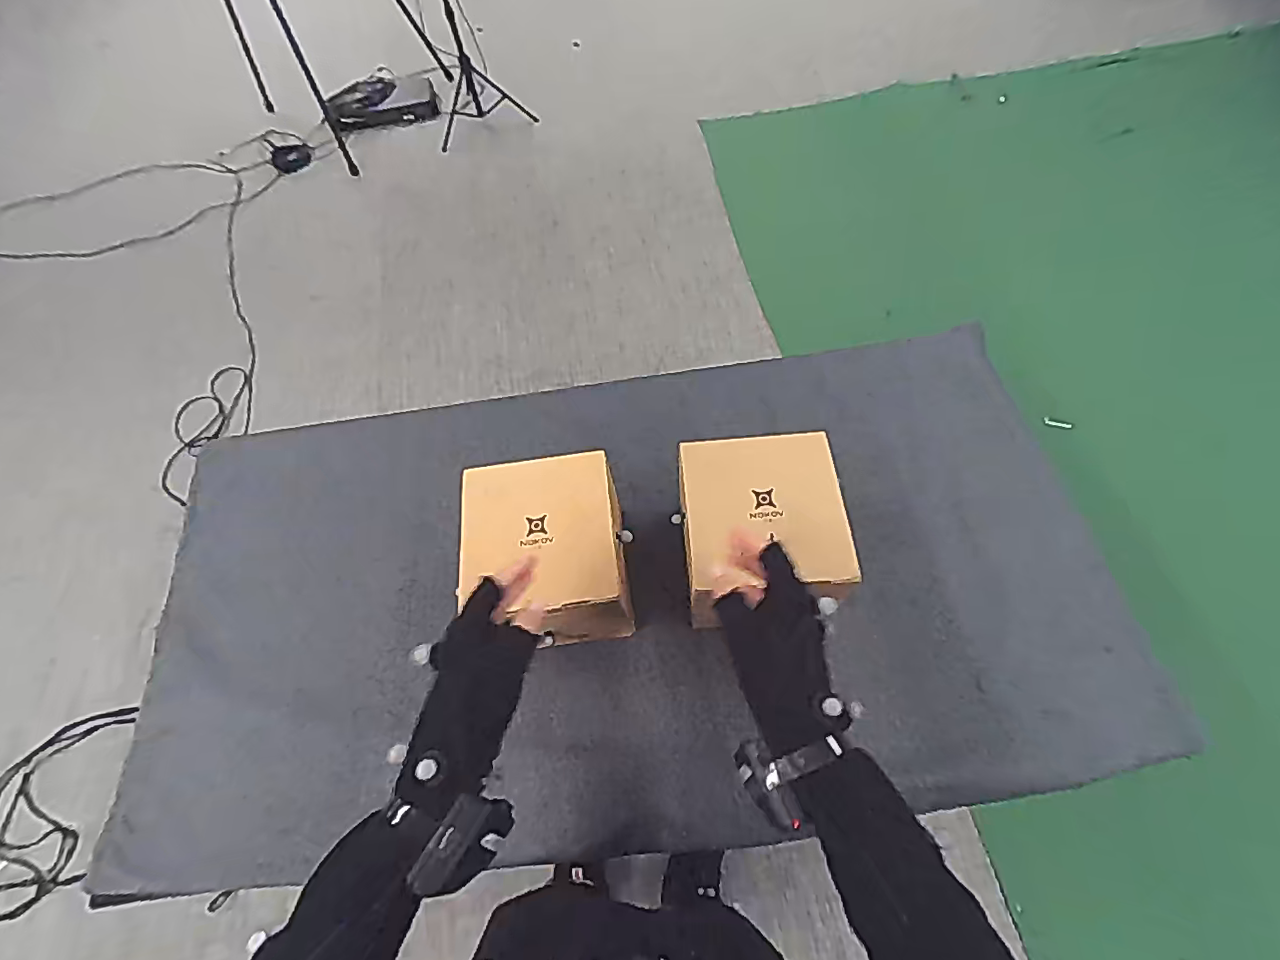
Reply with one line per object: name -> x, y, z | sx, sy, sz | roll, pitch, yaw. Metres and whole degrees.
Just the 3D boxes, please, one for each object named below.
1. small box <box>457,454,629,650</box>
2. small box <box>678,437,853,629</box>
small box -> -0.108, 0.093, 0.652 | 0.168, 0.176, 0.179 | -8, 62, 0
small box -> 0.132, 0.069, 0.646 | 0.168, 0.176, 0.179 | -4, 63, 3
